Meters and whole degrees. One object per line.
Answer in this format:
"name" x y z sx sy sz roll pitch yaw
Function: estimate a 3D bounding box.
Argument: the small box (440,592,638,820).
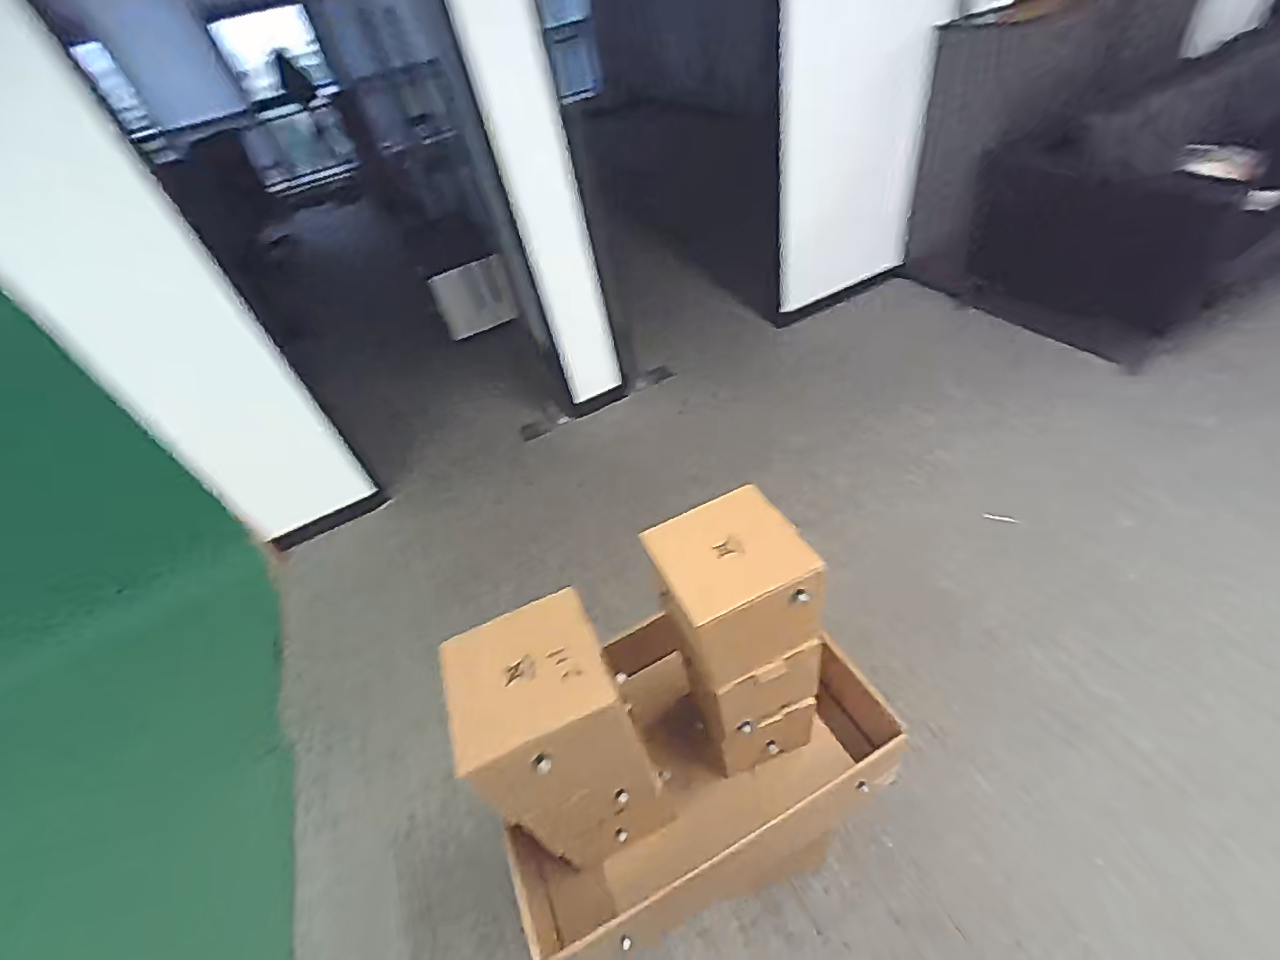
"small box" -0.119 0.277 0.660 0.179 0.176 0.168 -22 44 -10

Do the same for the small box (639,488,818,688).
"small box" 0.121 0.148 0.736 0.179 0.176 0.168 -23 44 -11

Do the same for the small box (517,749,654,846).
"small box" -0.094 0.390 0.777 0.168 0.176 0.179 -24 43 -12

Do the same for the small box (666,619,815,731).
"small box" 0.154 0.264 0.847 0.168 0.176 0.179 -23 43 -10
